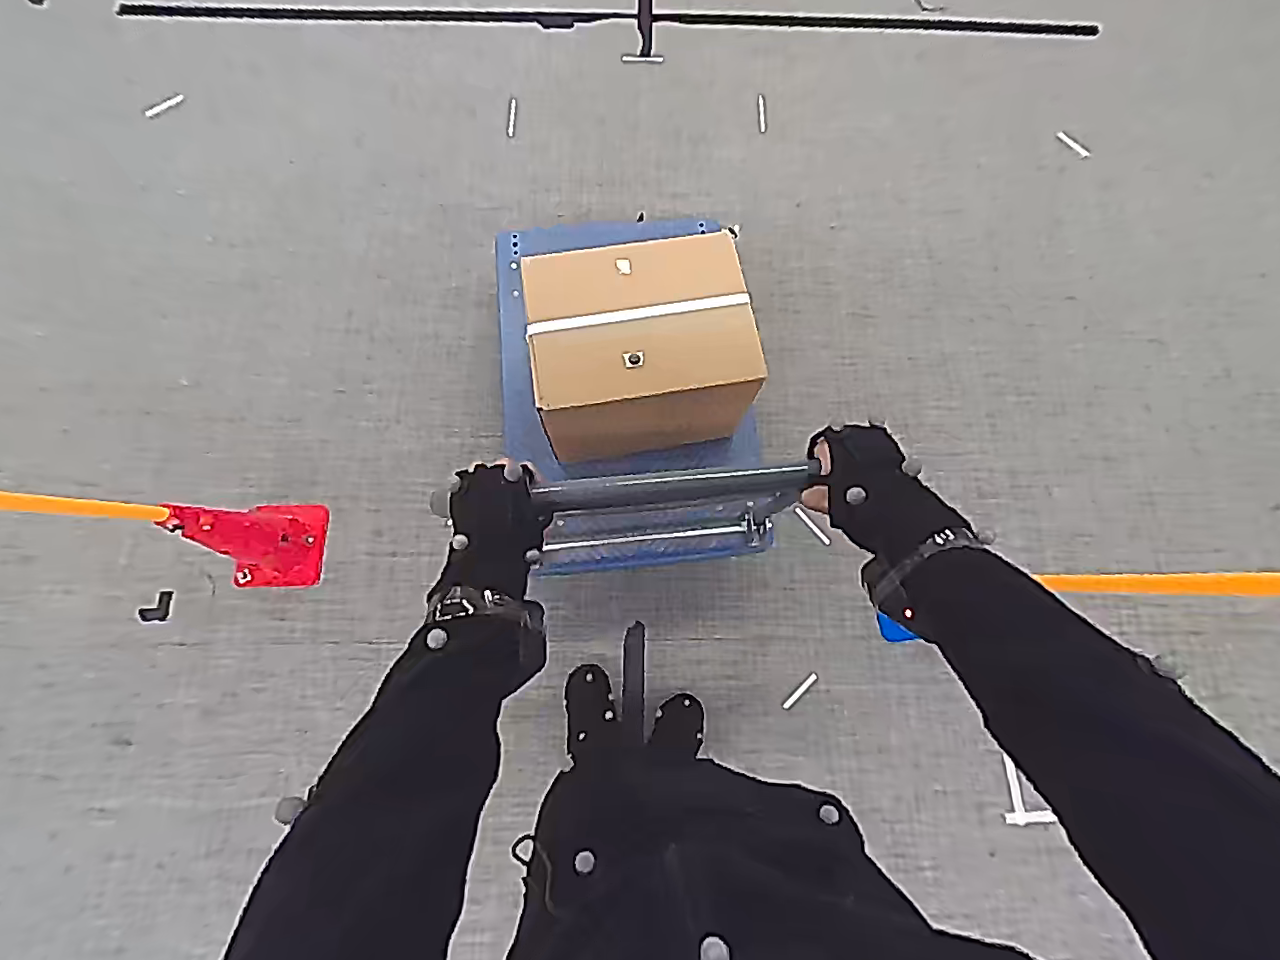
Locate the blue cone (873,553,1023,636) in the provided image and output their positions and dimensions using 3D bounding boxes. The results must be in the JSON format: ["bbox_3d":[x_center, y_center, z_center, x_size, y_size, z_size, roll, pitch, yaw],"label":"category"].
[{"bbox_3d":[0.680,0.229,1.162,0.193,0.380,0.192,-3,73,-3],"label":"blue cone"}]
